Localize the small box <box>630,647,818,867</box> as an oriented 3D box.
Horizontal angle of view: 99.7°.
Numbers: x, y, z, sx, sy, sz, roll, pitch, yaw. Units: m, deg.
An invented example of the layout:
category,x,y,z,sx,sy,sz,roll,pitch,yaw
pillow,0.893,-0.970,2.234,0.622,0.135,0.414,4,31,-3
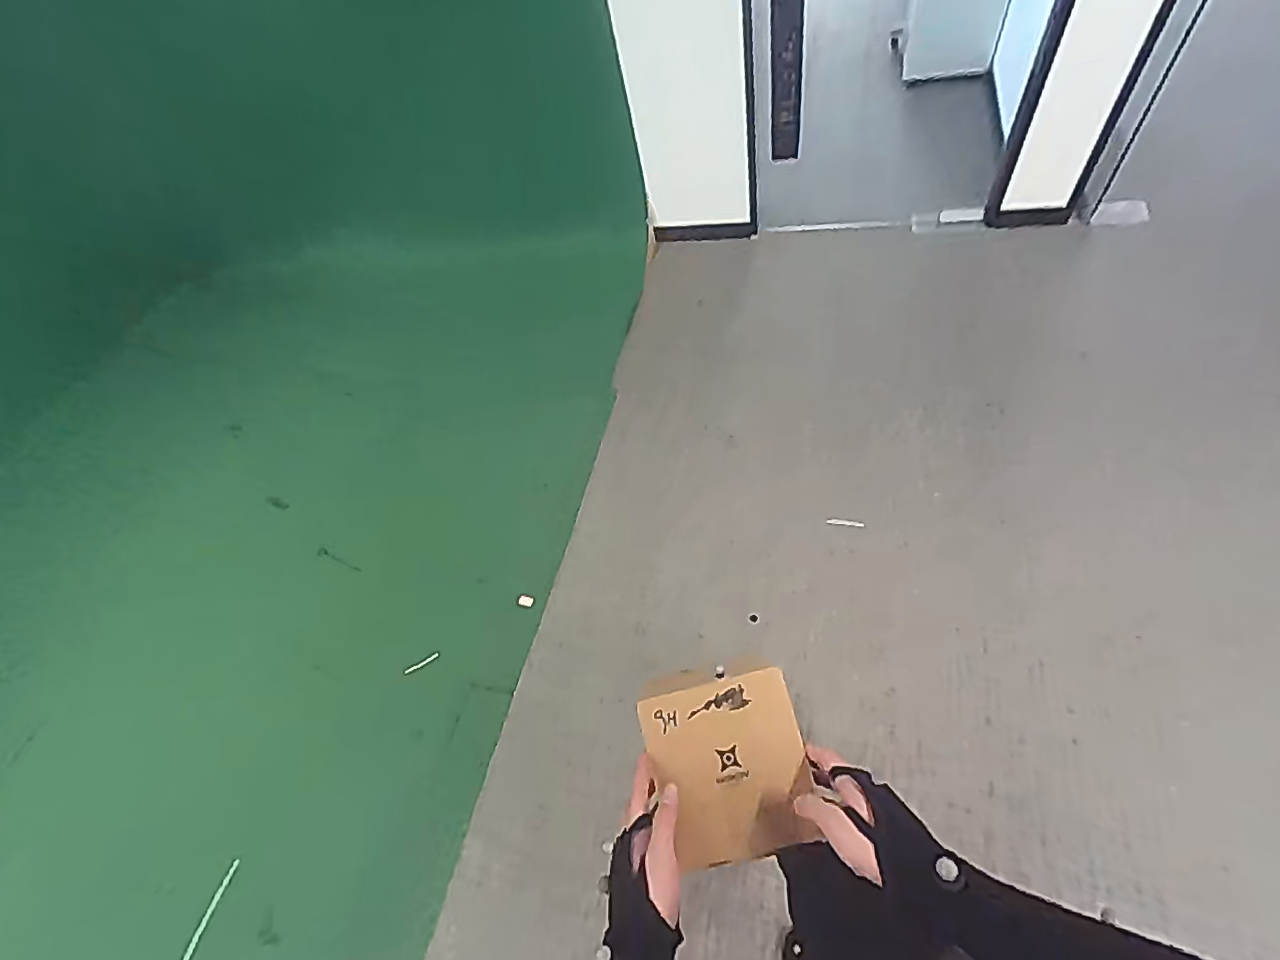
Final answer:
category,x,y,z,sx,sy,sz,roll,pitch,yaw
small box,0.091,0.313,0.649,0.168,0.176,0.179,-14,77,-1
